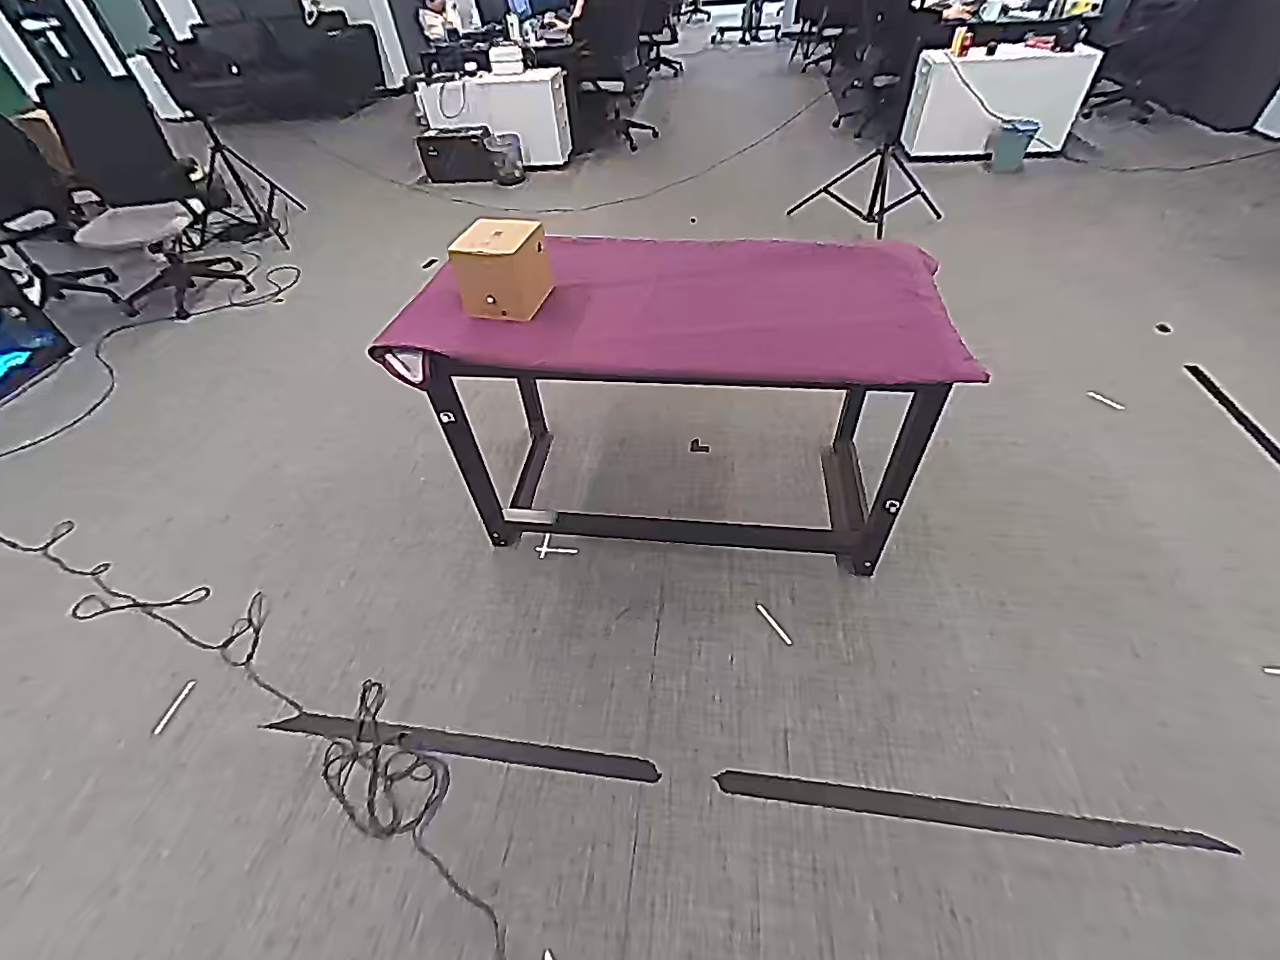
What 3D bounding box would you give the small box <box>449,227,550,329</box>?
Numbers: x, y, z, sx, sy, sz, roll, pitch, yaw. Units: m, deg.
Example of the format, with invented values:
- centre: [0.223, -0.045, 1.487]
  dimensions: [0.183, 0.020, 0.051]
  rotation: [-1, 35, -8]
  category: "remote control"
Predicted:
- centre: [-0.330, -0.492, 1.316]
  dimensions: [0.168, 0.176, 0.179]
  rotation: [8, 48, 12]
  category: "small box"
